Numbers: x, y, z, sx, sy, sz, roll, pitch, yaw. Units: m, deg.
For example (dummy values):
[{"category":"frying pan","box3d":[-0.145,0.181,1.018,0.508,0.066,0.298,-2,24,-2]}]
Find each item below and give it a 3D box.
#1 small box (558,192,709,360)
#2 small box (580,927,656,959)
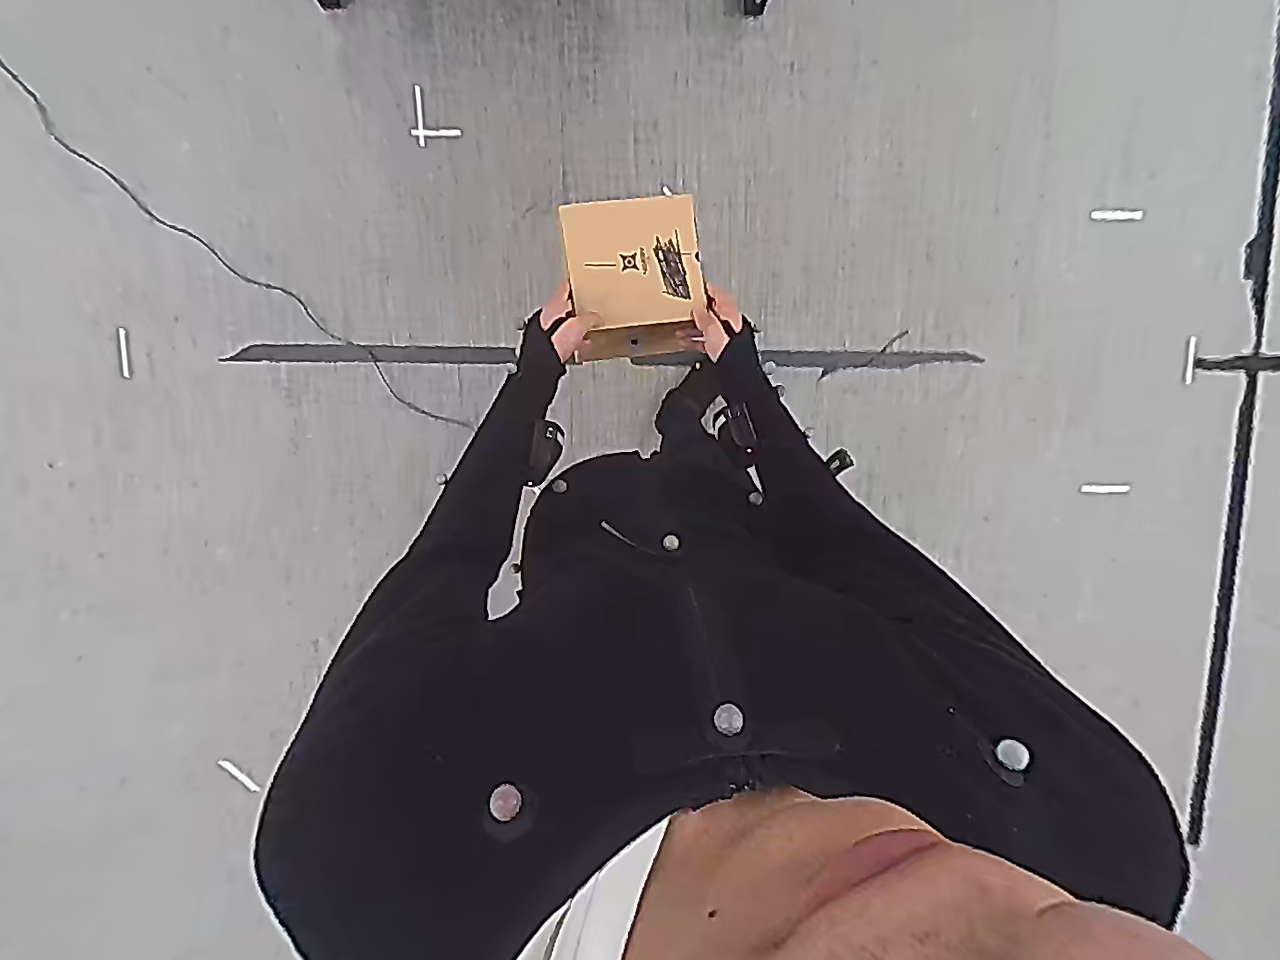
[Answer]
[{"category":"small box","box3d":[-0.017,-0.275,0.759,0.179,0.176,0.168,-9,89,-6]},{"category":"small box","box3d":[-0.062,1.196,1.259,0.179,0.176,0.168,10,97,-1]}]
